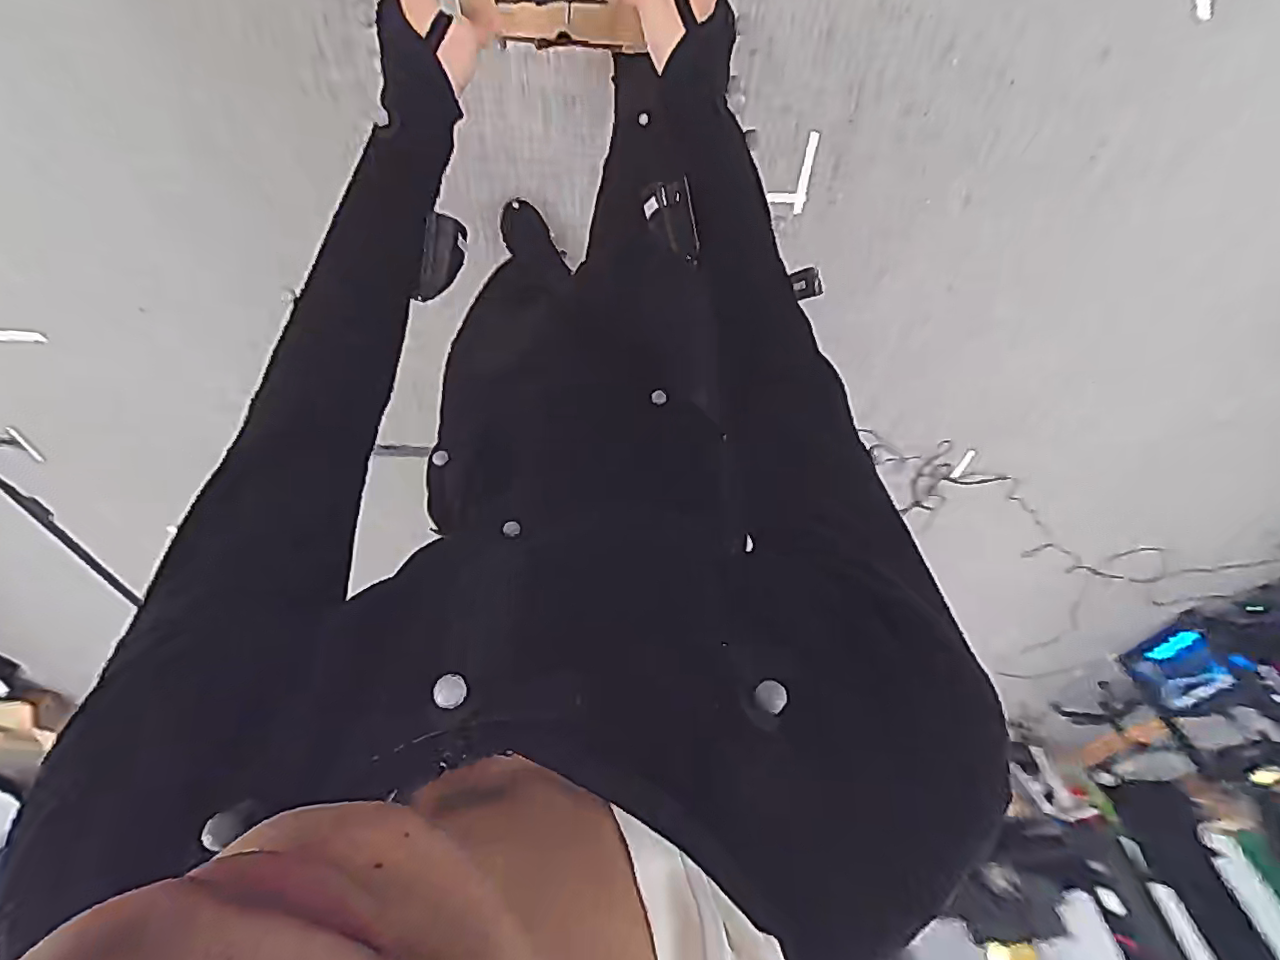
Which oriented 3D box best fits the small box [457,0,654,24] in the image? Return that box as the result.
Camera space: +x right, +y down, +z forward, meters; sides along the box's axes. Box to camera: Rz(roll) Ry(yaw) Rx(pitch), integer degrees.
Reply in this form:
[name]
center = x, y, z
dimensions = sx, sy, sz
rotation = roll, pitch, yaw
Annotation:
[small box]
center = -0.077, -0.506, 0.454
dimensions = 0.168, 0.176, 0.179
rotation = -5, 131, -12
